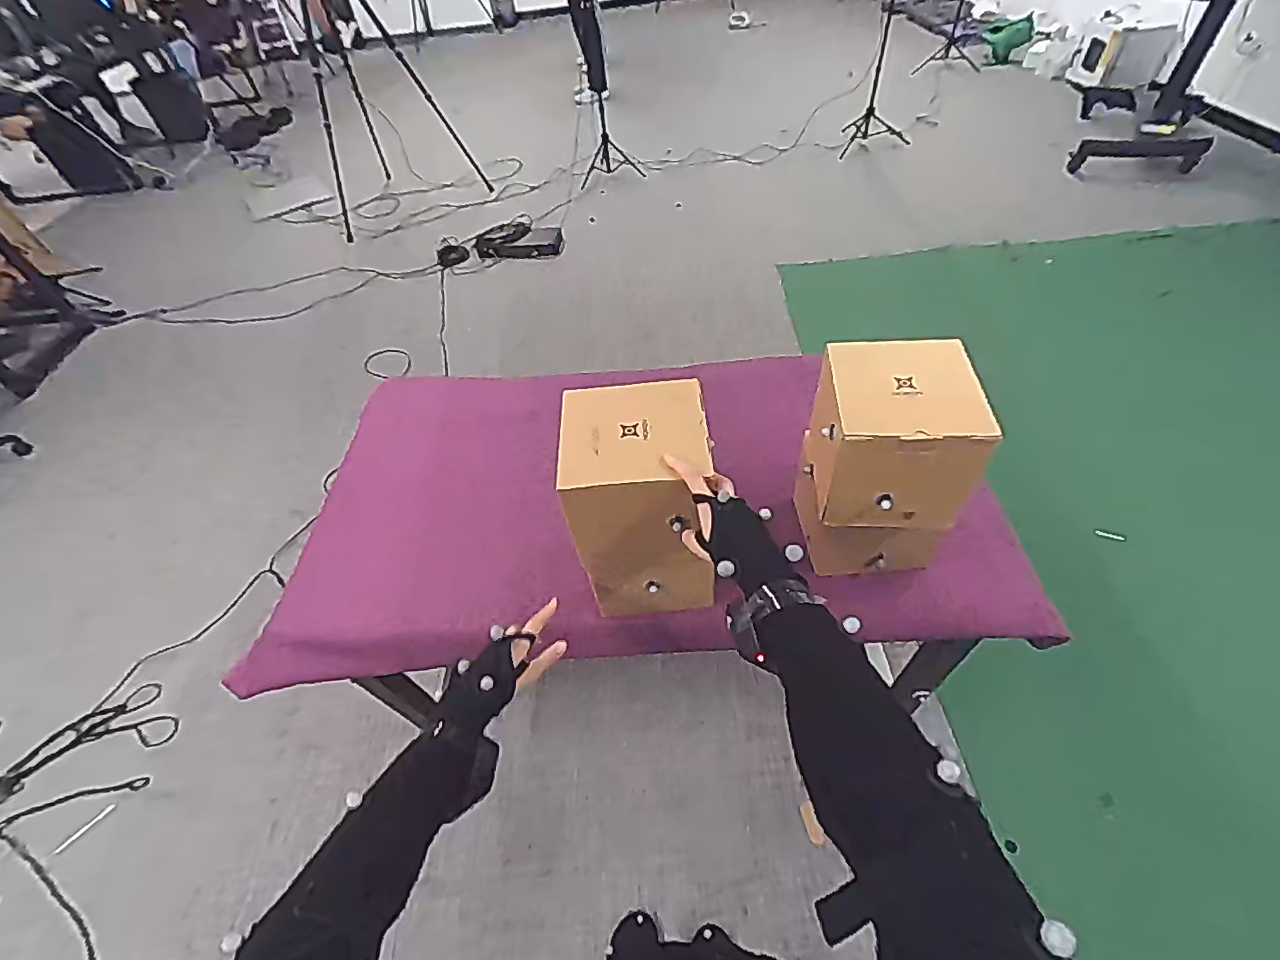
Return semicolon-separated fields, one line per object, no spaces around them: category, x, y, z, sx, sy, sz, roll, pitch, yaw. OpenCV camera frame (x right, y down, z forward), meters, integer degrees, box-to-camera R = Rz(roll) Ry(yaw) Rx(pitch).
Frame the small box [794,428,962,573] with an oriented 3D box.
small box;0.349;0.028;0.833;0.179;0.176;0.168;-5;47;3

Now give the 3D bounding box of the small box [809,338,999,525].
small box;0.319;-0.063;0.699;0.168;0.176;0.179;0;50;9

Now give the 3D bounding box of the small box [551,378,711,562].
small box;-0.004;-0.009;0.695;0.179;0.176;0.168;-5;49;4
